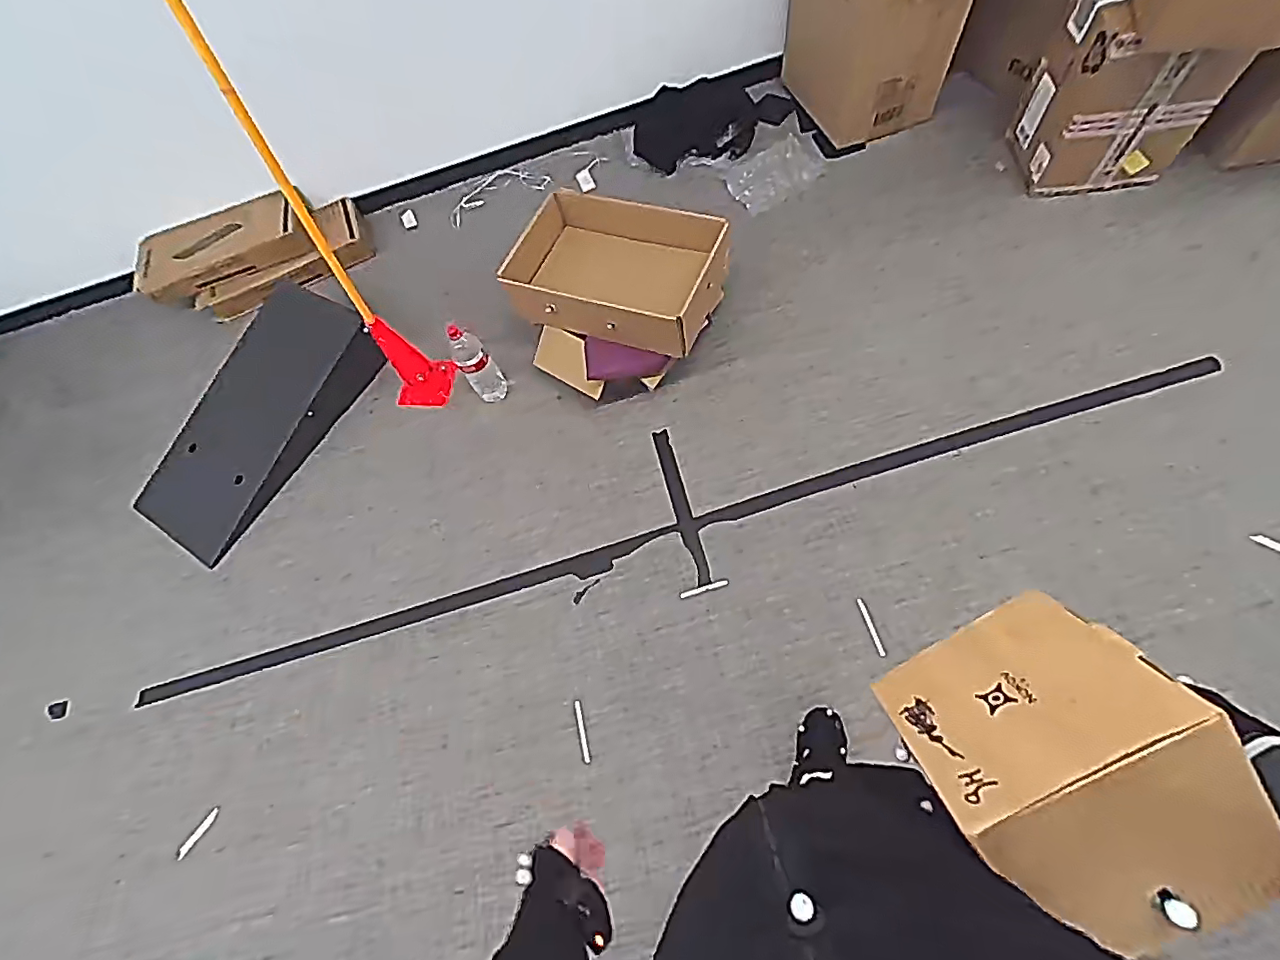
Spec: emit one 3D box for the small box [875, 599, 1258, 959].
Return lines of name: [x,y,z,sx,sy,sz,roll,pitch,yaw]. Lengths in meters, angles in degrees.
small box: [0.343,0.241,0.455,0.179,0.168,0.176,-34,102,9]
